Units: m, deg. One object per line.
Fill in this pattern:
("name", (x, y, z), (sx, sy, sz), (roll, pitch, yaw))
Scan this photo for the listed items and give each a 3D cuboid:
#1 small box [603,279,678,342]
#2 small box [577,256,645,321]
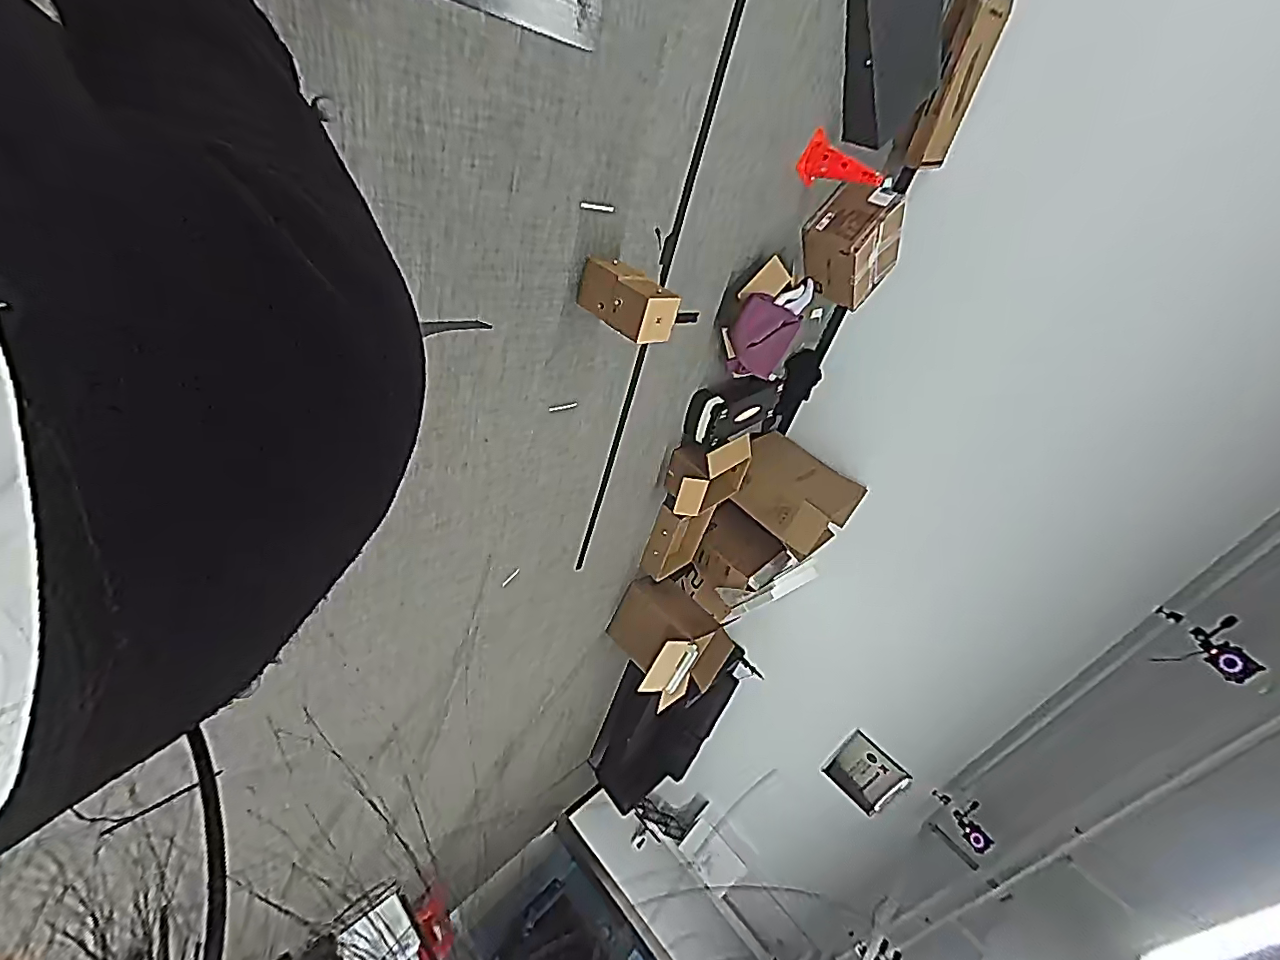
("small box", (-0.001, -0.609, 1.930), (0.179, 0.176, 0.168), (-19, 138, -43))
("small box", (-0.113, -0.705, 1.999), (0.168, 0.176, 0.179), (-19, 139, -45))
